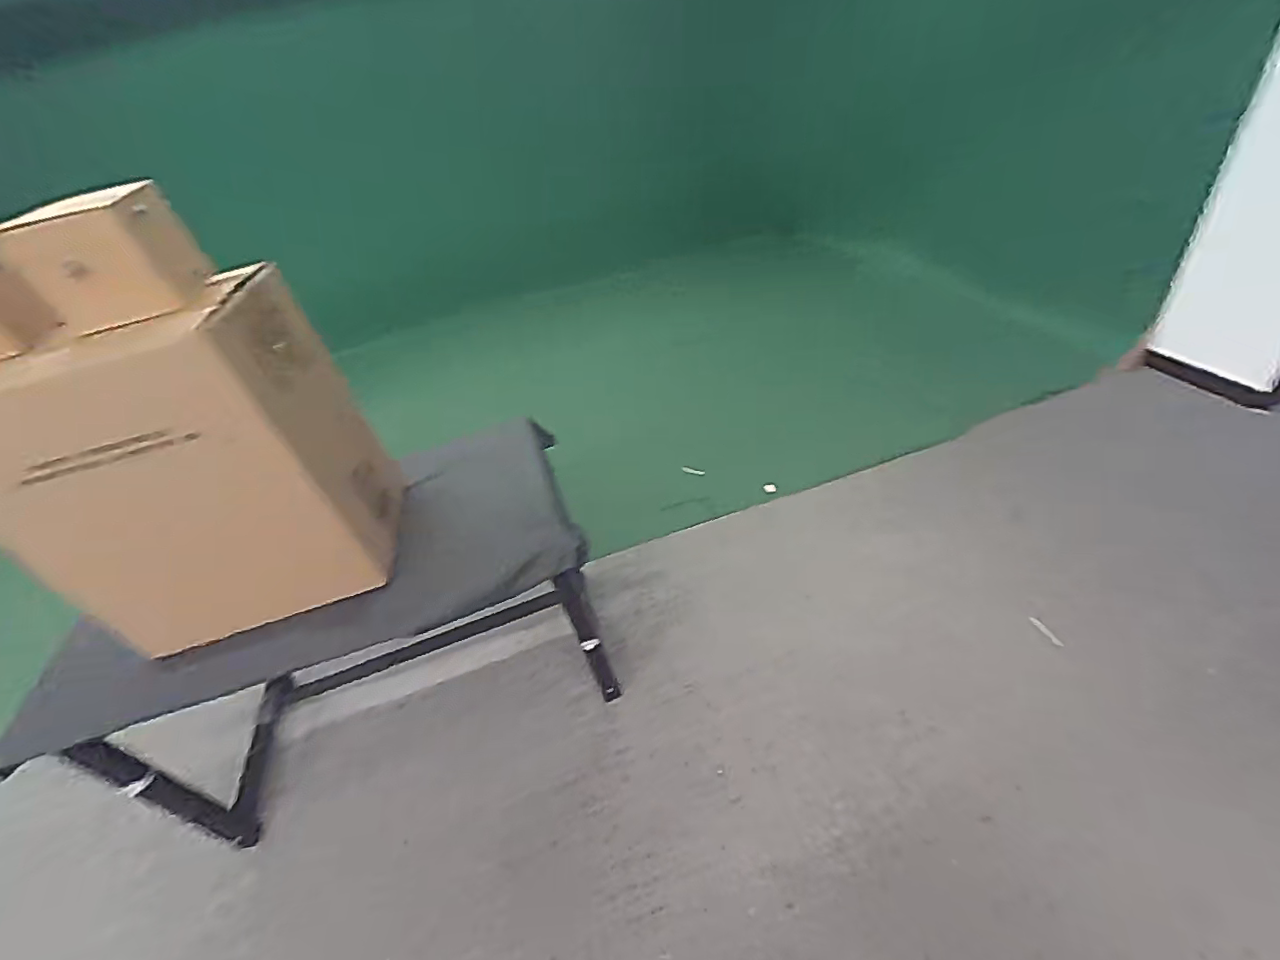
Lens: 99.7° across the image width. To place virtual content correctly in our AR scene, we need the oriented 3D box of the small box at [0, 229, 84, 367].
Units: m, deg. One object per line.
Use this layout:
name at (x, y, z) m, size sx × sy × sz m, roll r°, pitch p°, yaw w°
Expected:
small box at (-1.110, -0.291, 0.902) m, size 0.168 × 0.176 × 0.179 m, roll -17°, pitch 41°, yaw -6°

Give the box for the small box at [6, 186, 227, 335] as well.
small box at (-0.867, -0.370, 0.920) m, size 0.179 × 0.176 × 0.168 m, roll -18°, pitch 43°, yaw -3°
